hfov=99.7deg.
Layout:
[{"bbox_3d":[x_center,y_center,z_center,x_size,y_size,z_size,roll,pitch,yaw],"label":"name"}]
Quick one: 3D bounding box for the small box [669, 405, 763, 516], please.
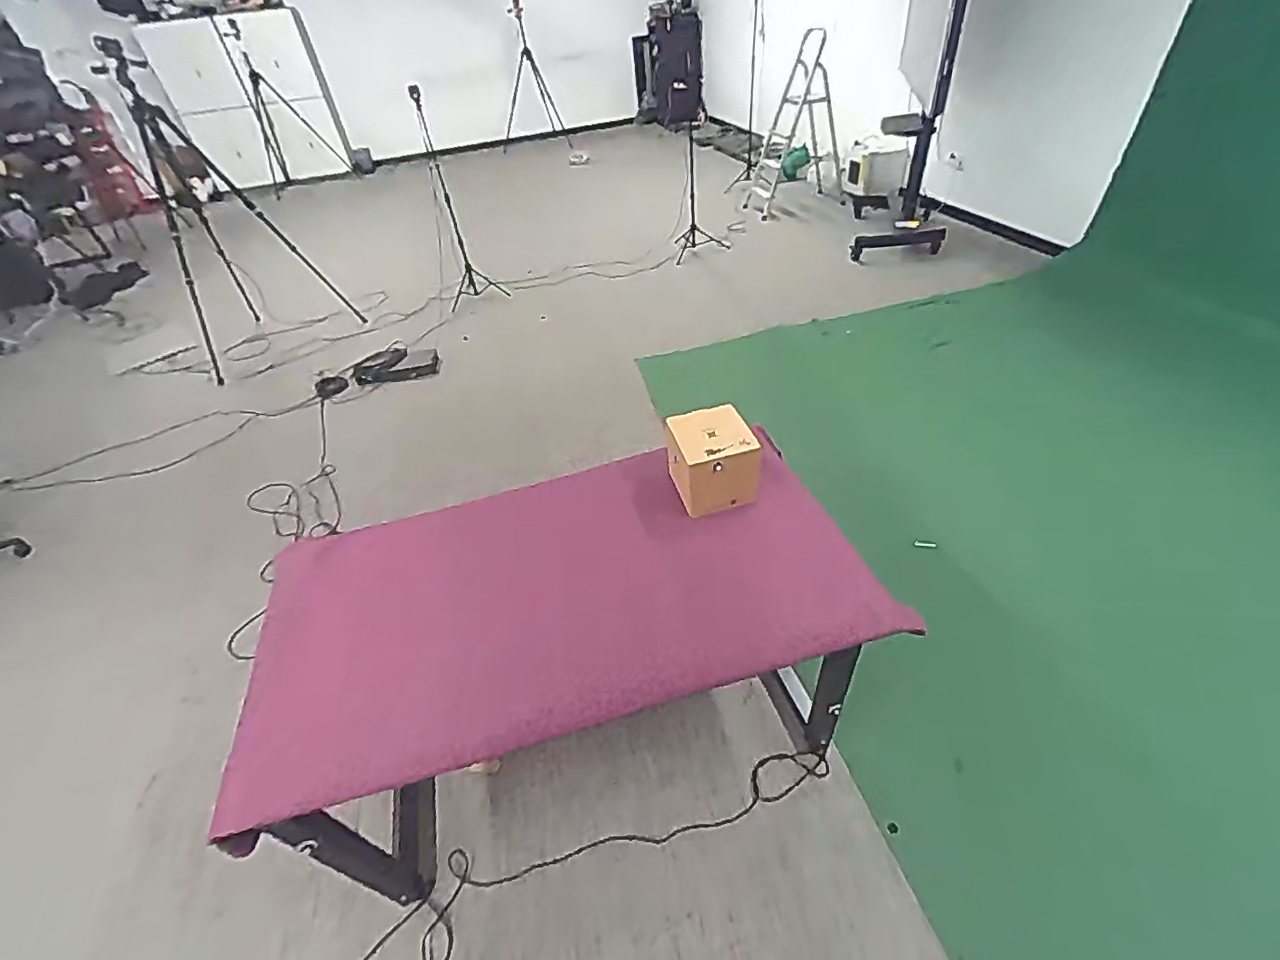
[{"bbox_3d":[0.171,-0.044,1.253,0.168,0.176,0.179,-14,43,-6],"label":"small box"}]
